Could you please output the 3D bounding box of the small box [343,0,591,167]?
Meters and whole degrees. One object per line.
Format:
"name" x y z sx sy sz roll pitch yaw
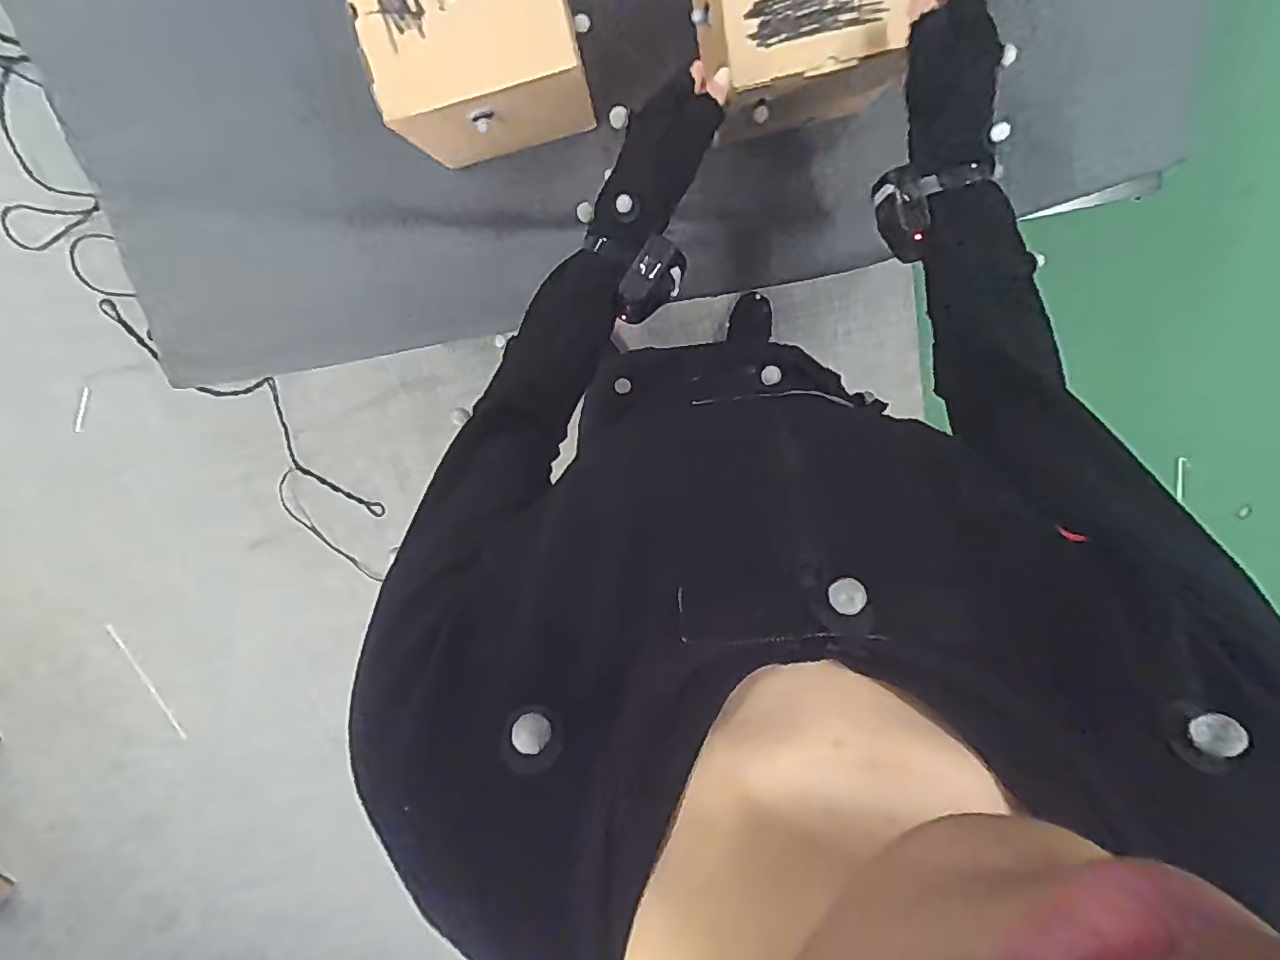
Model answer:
"small box" -0.156 -0.425 0.517 0.179 0.176 0.168 -13 107 5
